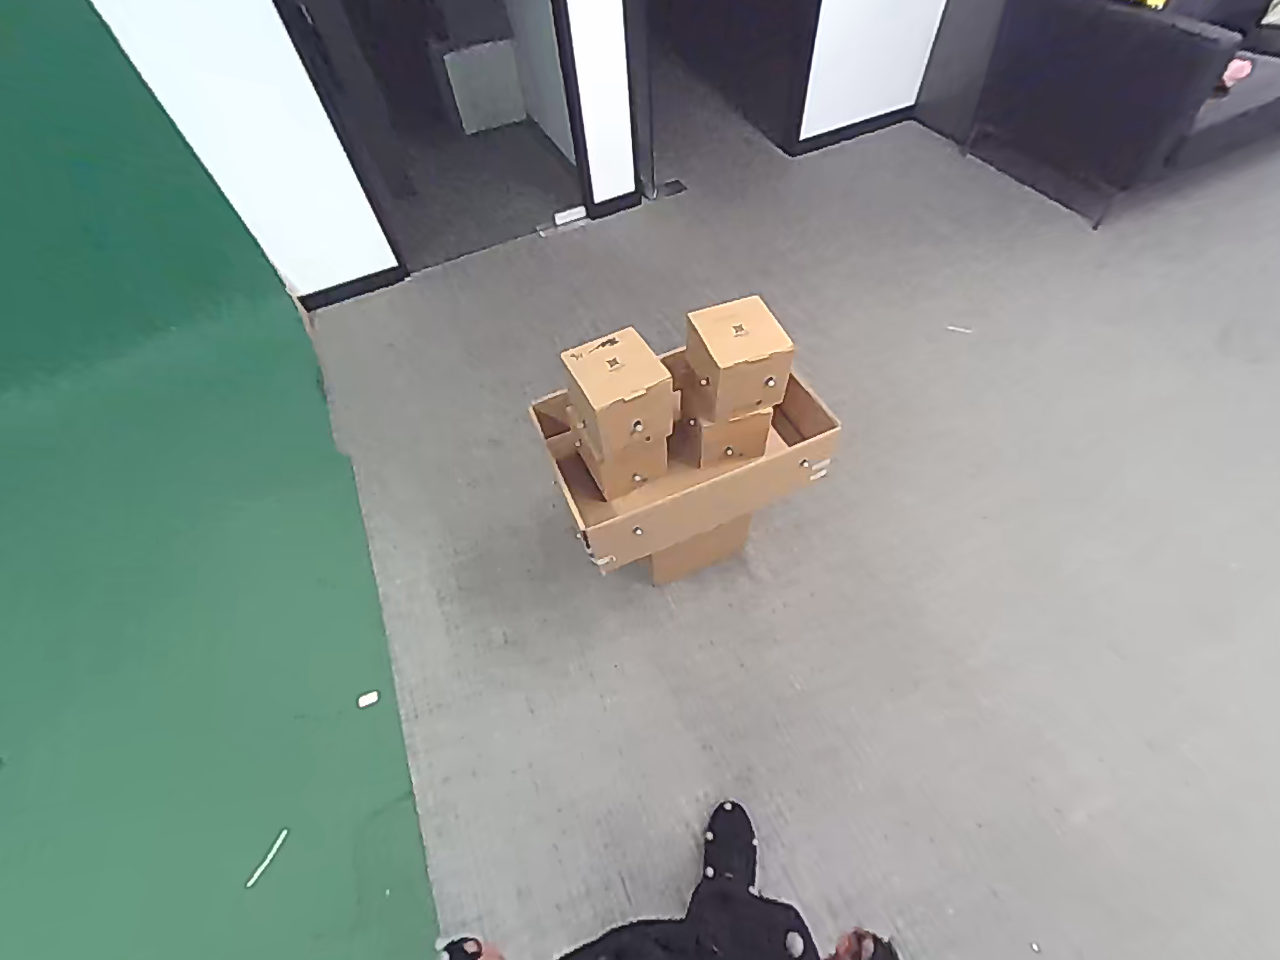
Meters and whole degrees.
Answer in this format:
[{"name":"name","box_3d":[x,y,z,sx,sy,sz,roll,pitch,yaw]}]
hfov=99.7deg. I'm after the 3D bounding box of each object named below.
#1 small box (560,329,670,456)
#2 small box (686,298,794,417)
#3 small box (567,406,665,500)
[{"name":"small box","box_3d":[-0.046,-0.172,1.112,0.168,0.176,0.179,-24,58,-13]},{"name":"small box","box_3d":[0.205,-0.253,1.156,0.168,0.176,0.179,-16,56,-9]},{"name":"small box","box_3d":[-0.052,-0.086,1.253,0.168,0.176,0.179,-24,58,-12]}]
